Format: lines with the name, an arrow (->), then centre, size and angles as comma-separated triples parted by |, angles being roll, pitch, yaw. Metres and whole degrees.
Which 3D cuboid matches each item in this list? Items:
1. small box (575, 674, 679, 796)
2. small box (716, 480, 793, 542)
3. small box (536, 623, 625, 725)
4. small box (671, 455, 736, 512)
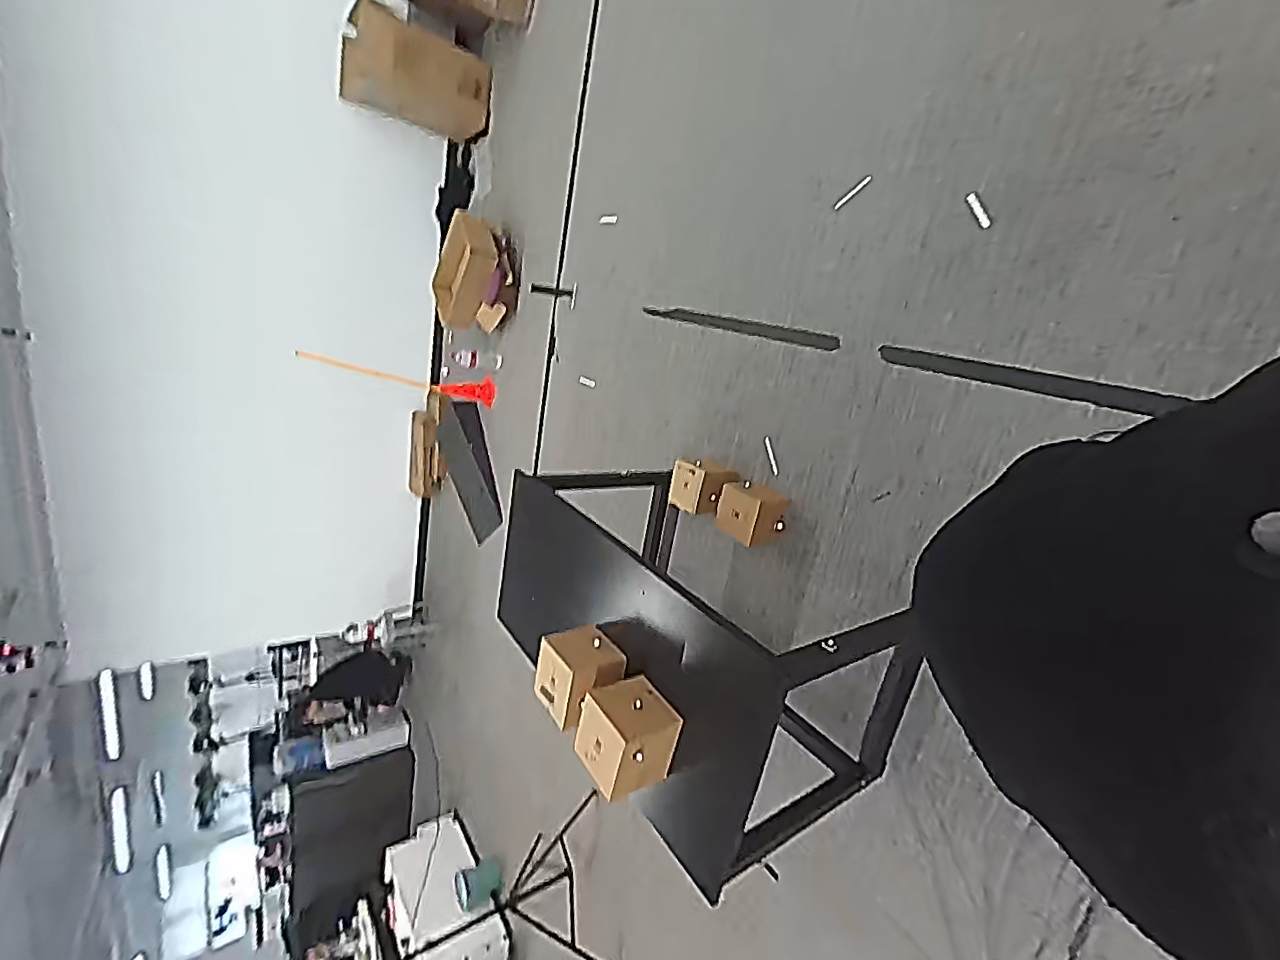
small box -> -0.029, 0.588, 1.273 | 0.168, 0.176, 0.179 | 35, 118, 47
small box -> 0.400, 0.104, 1.893 | 0.179, 0.176, 0.168 | 29, 115, 47
small box -> -0.158, 0.506, 1.437 | 0.168, 0.176, 0.179 | 30, 114, 48
small box -> 0.246, 0.010, 2.084 | 0.168, 0.176, 0.179 | 29, 114, 47
